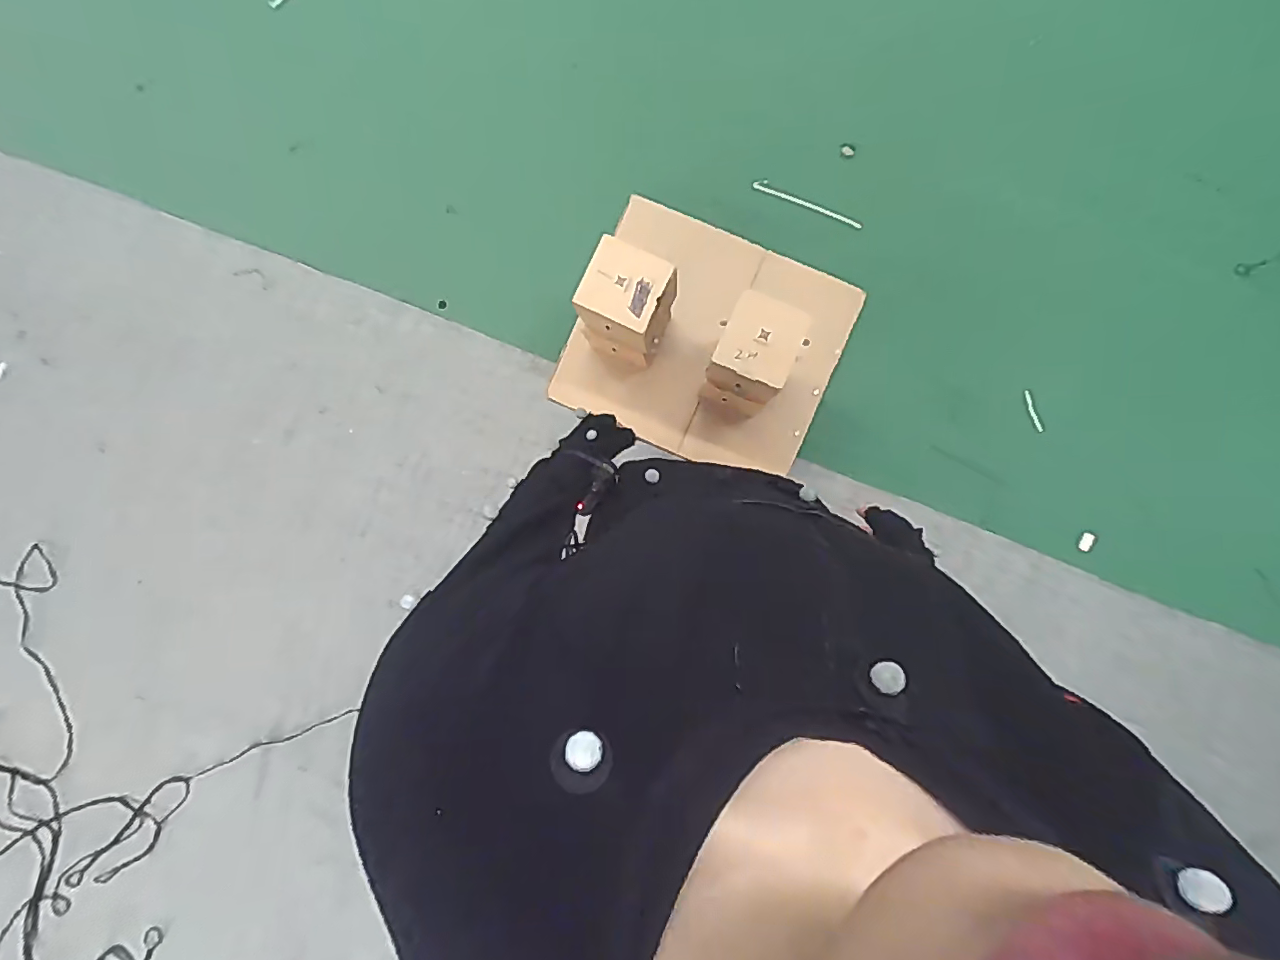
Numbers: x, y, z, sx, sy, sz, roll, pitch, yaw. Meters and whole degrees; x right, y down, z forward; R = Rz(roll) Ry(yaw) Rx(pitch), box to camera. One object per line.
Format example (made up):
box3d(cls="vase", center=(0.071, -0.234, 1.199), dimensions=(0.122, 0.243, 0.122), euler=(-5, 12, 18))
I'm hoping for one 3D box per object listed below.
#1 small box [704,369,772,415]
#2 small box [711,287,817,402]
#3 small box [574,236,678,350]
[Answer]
box3d(cls="small box", center=(0.270, -0.282, 1.380), dimensions=(0.168, 0.176, 0.179), euler=(22, 91, 3))
box3d(cls="small box", center=(0.267, -0.295, 1.214), dimensions=(0.168, 0.176, 0.179), euler=(24, 91, 4))
box3d(cls="small box", center=(-0.024, -0.412, 1.228), dimensions=(0.179, 0.176, 0.168), euler=(26, 91, 5))
